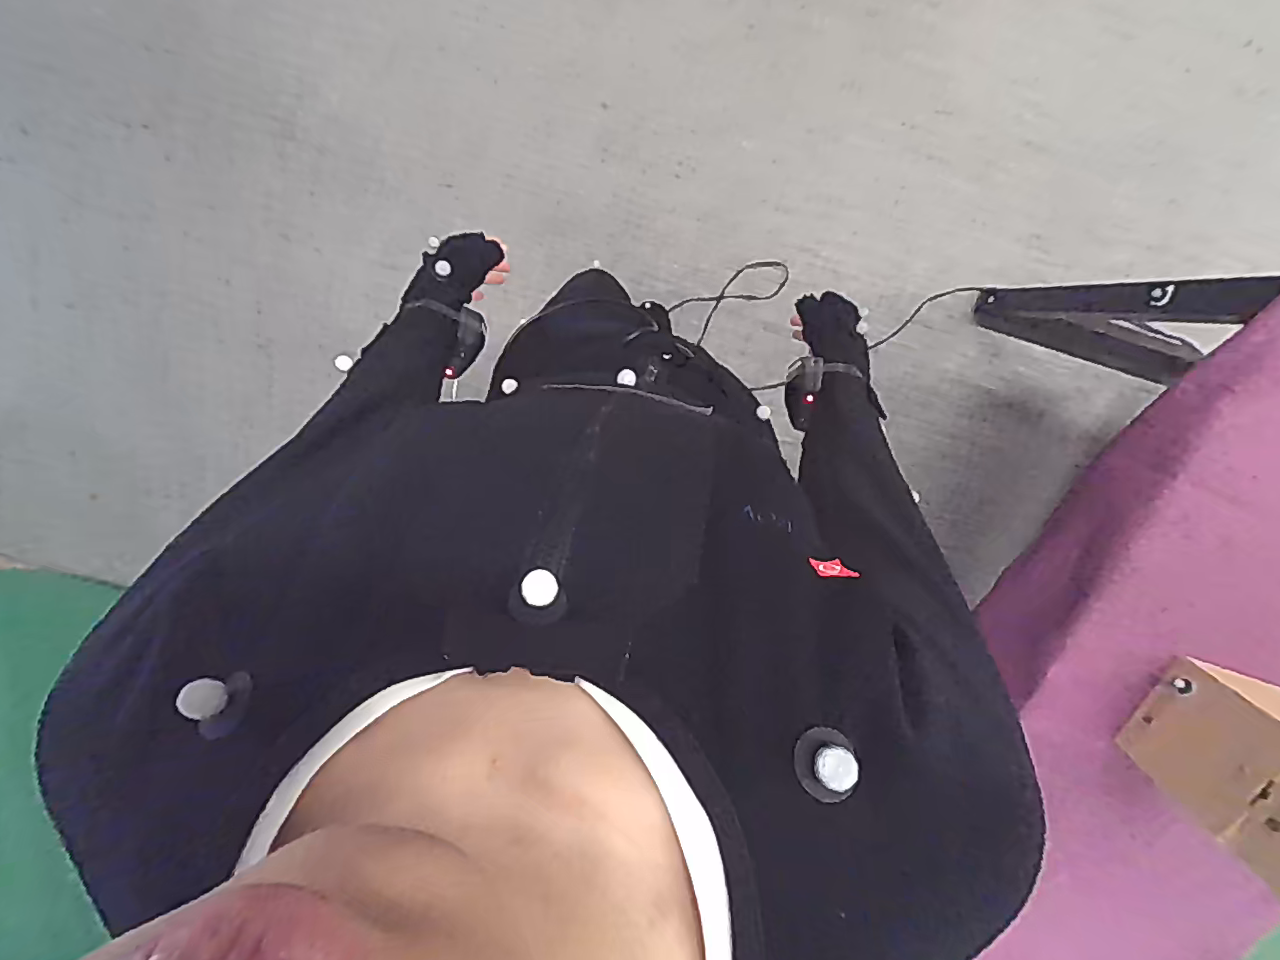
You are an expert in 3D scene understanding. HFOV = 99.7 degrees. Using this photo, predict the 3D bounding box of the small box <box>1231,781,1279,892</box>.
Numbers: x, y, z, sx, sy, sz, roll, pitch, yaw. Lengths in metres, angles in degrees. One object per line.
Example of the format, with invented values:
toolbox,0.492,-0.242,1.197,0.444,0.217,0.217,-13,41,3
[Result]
small box,0.817,0.420,0.565,0.179,0.176,0.168,18,107,-2

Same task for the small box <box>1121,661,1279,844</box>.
small box,0.817,0.371,0.721,0.179,0.176,0.168,18,107,-3
